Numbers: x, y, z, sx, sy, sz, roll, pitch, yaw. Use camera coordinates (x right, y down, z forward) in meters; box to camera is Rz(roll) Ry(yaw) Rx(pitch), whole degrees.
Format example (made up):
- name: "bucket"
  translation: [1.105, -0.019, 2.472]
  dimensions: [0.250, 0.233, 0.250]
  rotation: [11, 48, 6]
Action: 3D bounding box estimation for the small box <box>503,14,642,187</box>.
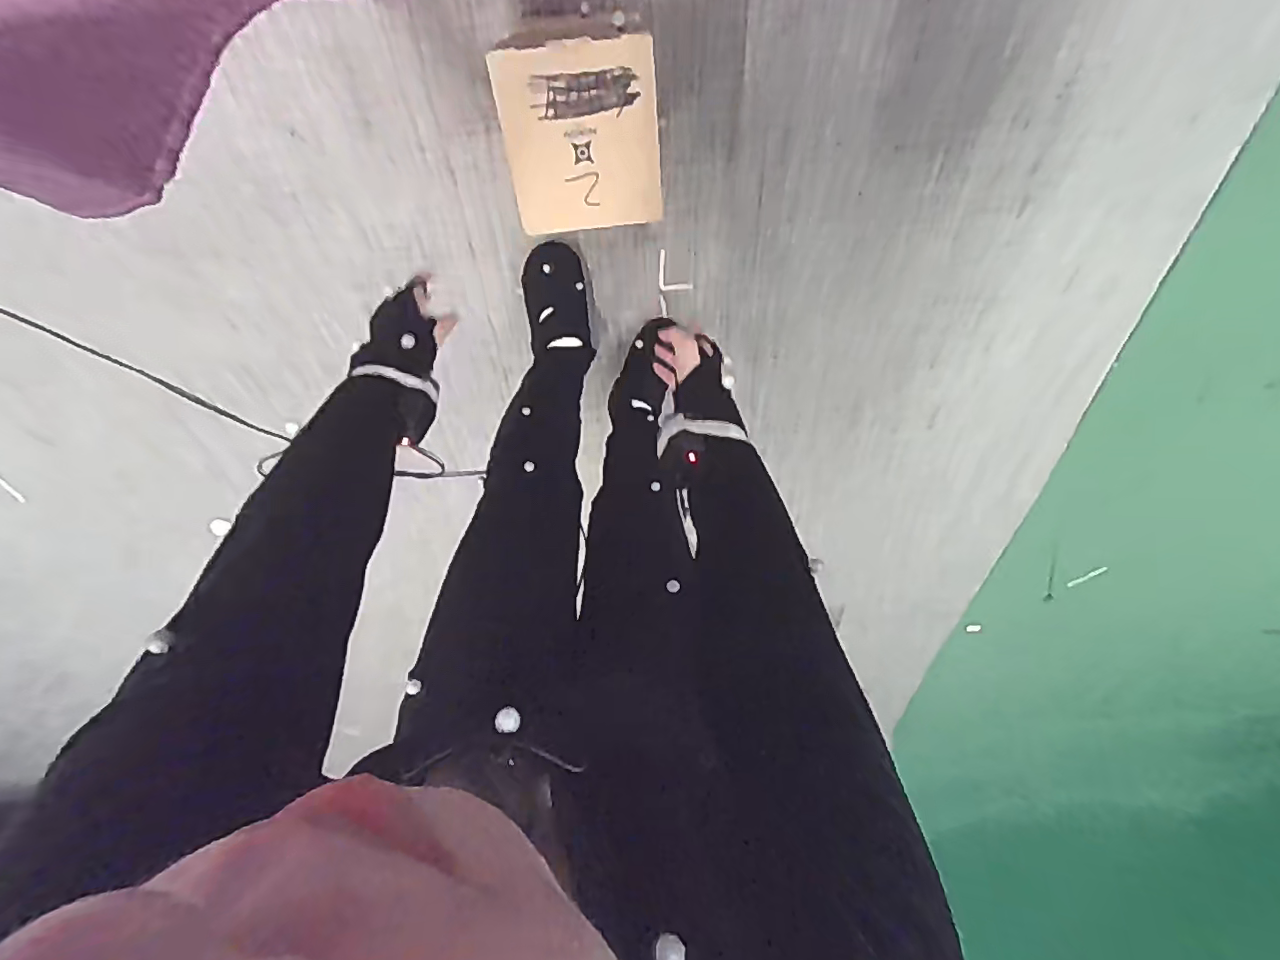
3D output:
- name: "small box"
  translation: [-0.083, -0.535, 0.763]
  dimensions: [0.168, 0.176, 0.179]
  rotation: [-4, 132, 0]
